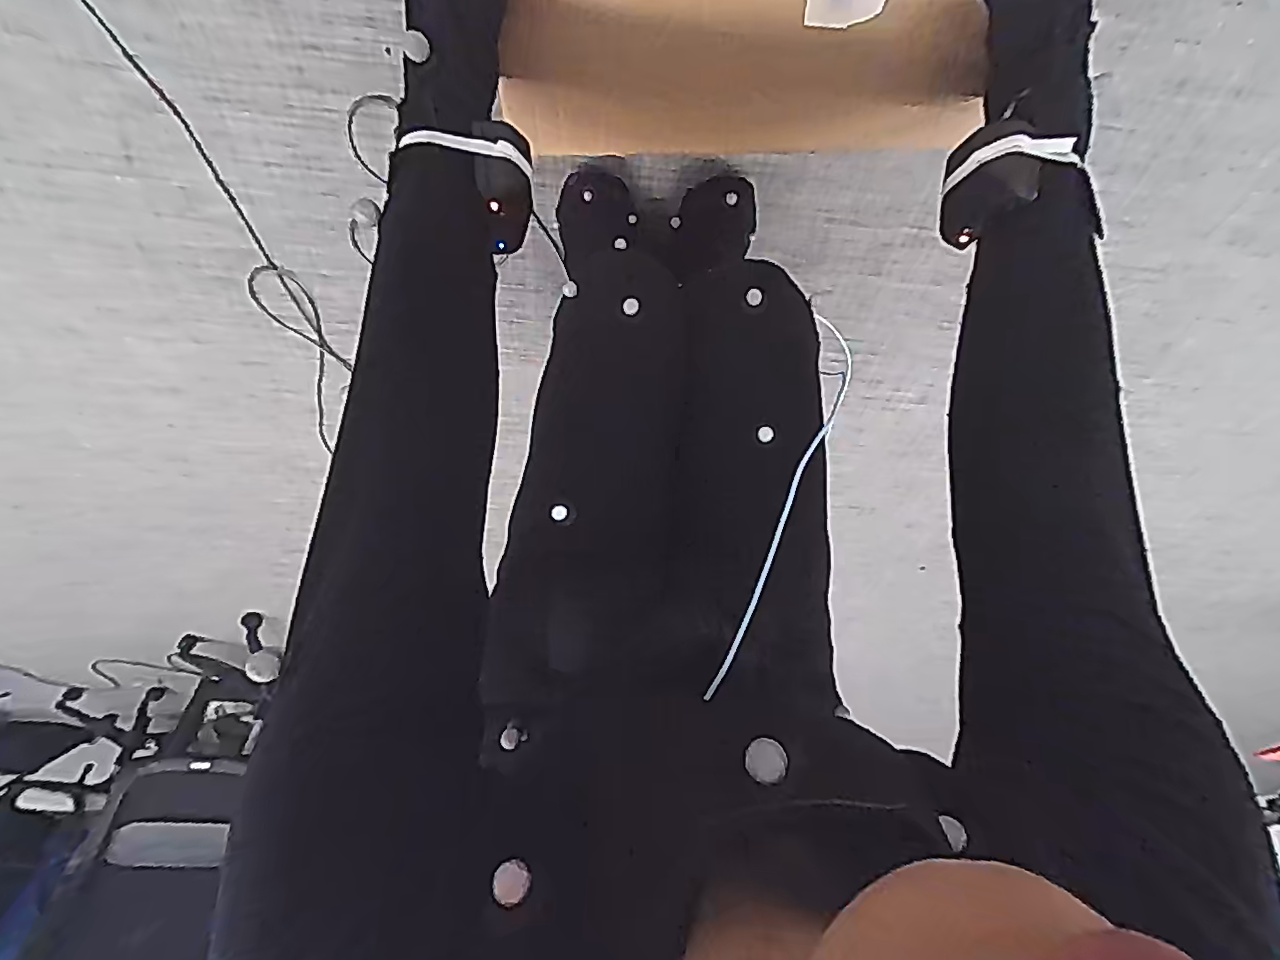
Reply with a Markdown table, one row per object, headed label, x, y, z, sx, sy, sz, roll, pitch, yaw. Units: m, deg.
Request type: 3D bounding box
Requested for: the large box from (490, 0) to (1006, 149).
| label | x | y | z | sx | sy | sz | roll | pitch | yaw |
| --- | --- | --- | --- | --- | --- | --- | --- | --- | --- |
| large box | 0.080 | -0.514 | 0.471 | 0.408 | 0.320 | 0.320 | 0 | 139 | 0 |
